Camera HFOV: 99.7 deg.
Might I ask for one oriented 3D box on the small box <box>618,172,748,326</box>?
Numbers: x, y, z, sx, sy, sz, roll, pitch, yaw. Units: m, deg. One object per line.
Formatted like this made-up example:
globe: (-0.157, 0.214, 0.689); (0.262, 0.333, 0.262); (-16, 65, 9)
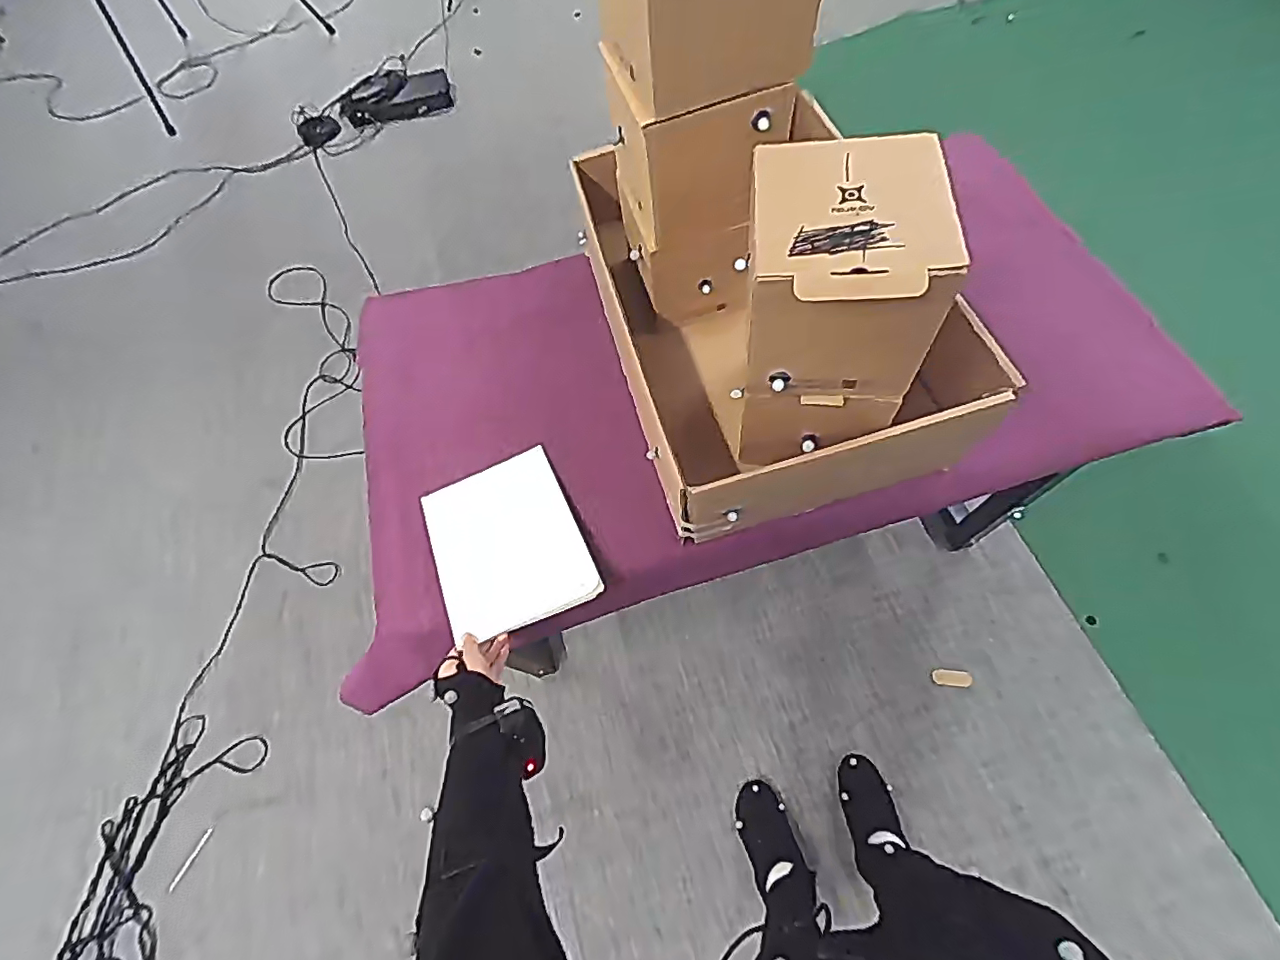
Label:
small box: (0.075, -0.356, 0.814); (0.168, 0.176, 0.179); (-16, 65, -1)

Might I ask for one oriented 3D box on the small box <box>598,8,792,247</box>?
small box: (0.064, -0.422, 0.666); (0.179, 0.176, 0.168); (-19, 65, -2)

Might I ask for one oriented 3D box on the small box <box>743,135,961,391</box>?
small box: (0.191, -0.202, 0.540); (0.168, 0.176, 0.179); (1, 63, 9)
